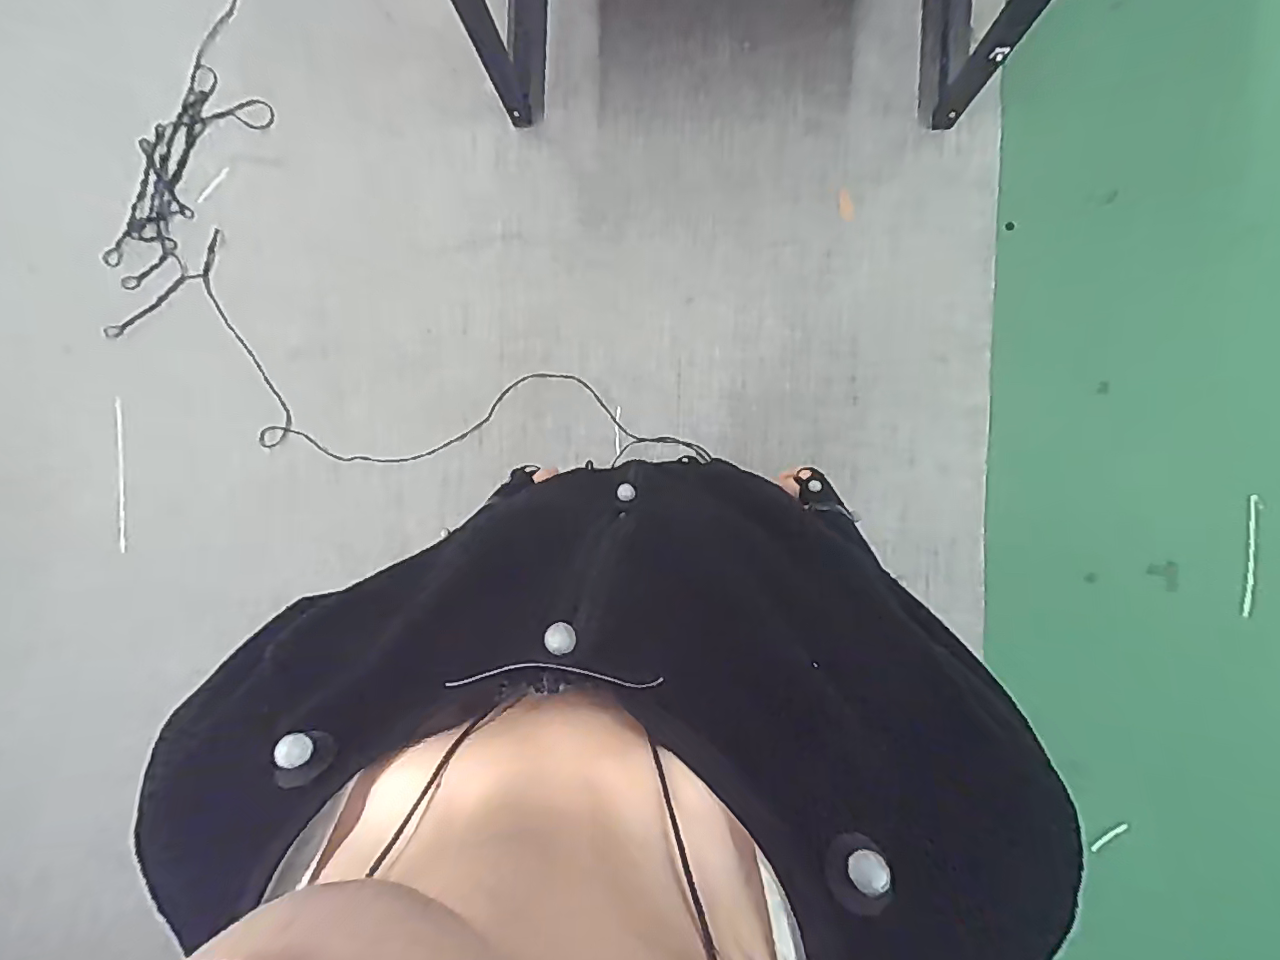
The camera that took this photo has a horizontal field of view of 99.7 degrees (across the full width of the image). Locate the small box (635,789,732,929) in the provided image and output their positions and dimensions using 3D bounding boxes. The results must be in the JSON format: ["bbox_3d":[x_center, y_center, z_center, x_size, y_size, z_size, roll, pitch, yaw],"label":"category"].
[{"bbox_3d":[0.087,0.740,1.074,0.179,0.176,0.168,-3,88,7],"label":"small box"}]

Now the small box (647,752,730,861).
[{"bbox_3d":[0.111,0.744,1.236,0.179,0.176,0.168,-3,89,7],"label":"small box"}]
